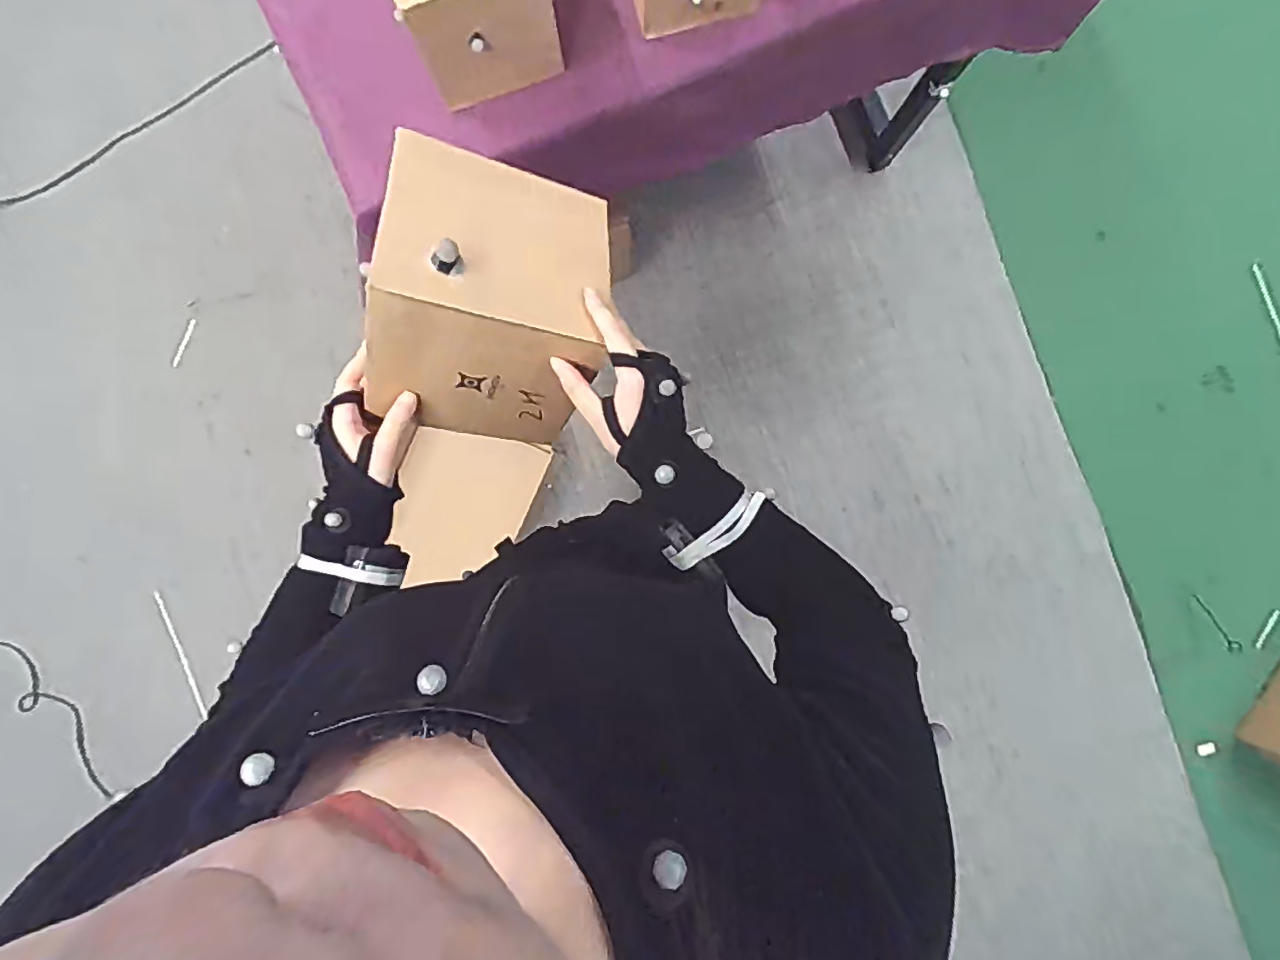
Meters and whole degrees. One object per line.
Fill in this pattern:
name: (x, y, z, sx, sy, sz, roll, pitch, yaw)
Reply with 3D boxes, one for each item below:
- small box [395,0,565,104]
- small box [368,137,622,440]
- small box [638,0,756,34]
small box: (-0.211, -0.626, 0.684, 0.179, 0.176, 0.168, -19, 91, 1)
small box: (-0.130, -0.159, 0.480, 0.179, 0.168, 0.176, 9, 64, -25)
small box: (0.068, -0.730, 0.685, 0.168, 0.176, 0.179, -15, 91, 0)
